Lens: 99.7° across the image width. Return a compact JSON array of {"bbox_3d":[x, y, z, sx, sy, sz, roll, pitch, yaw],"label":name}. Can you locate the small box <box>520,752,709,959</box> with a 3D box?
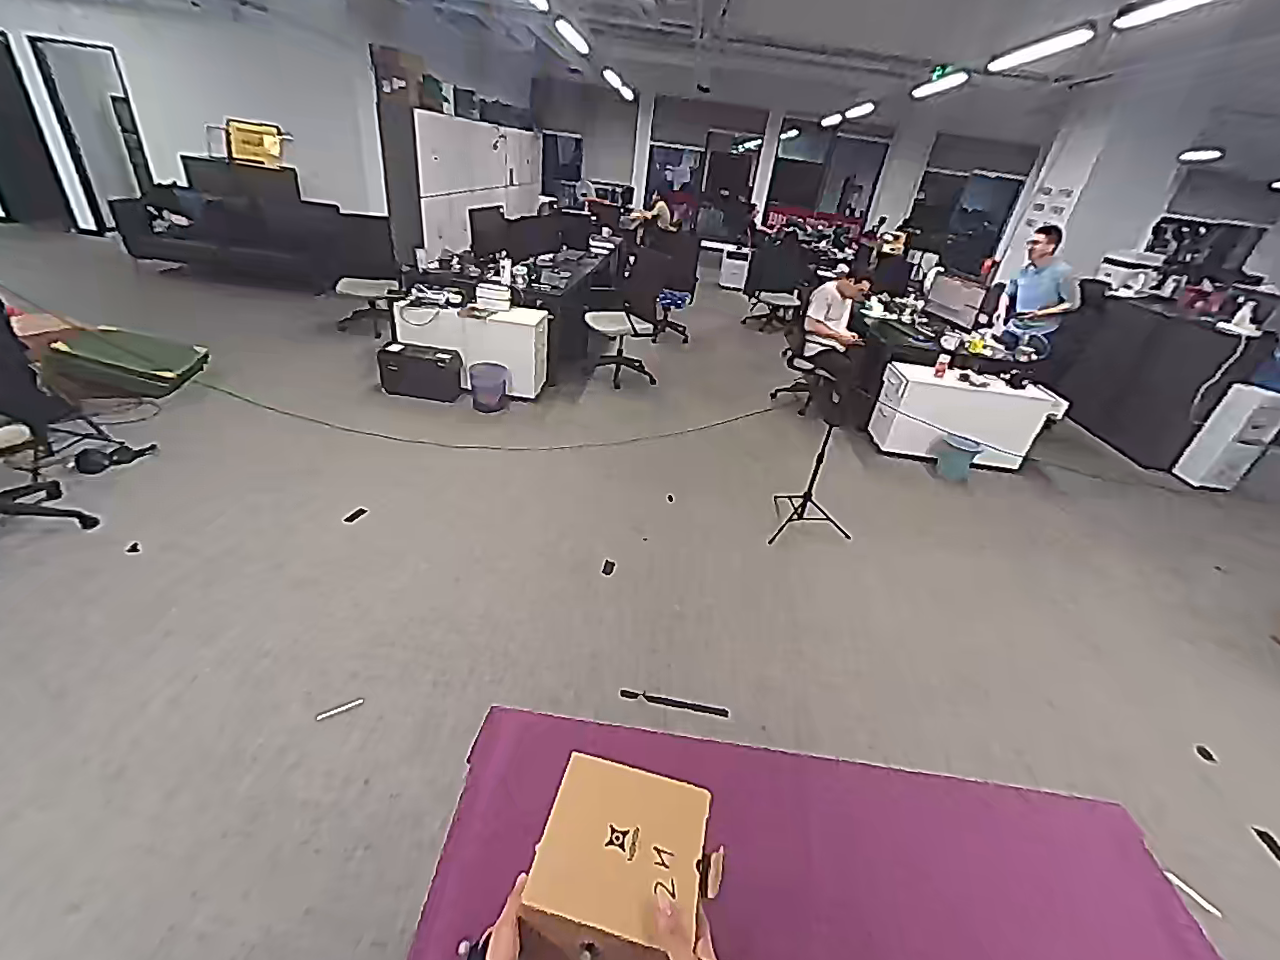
[{"bbox_3d":[-0.029,0.460,0.628,0.179,0.176,0.168,13,32,7],"label":"small box"}]
